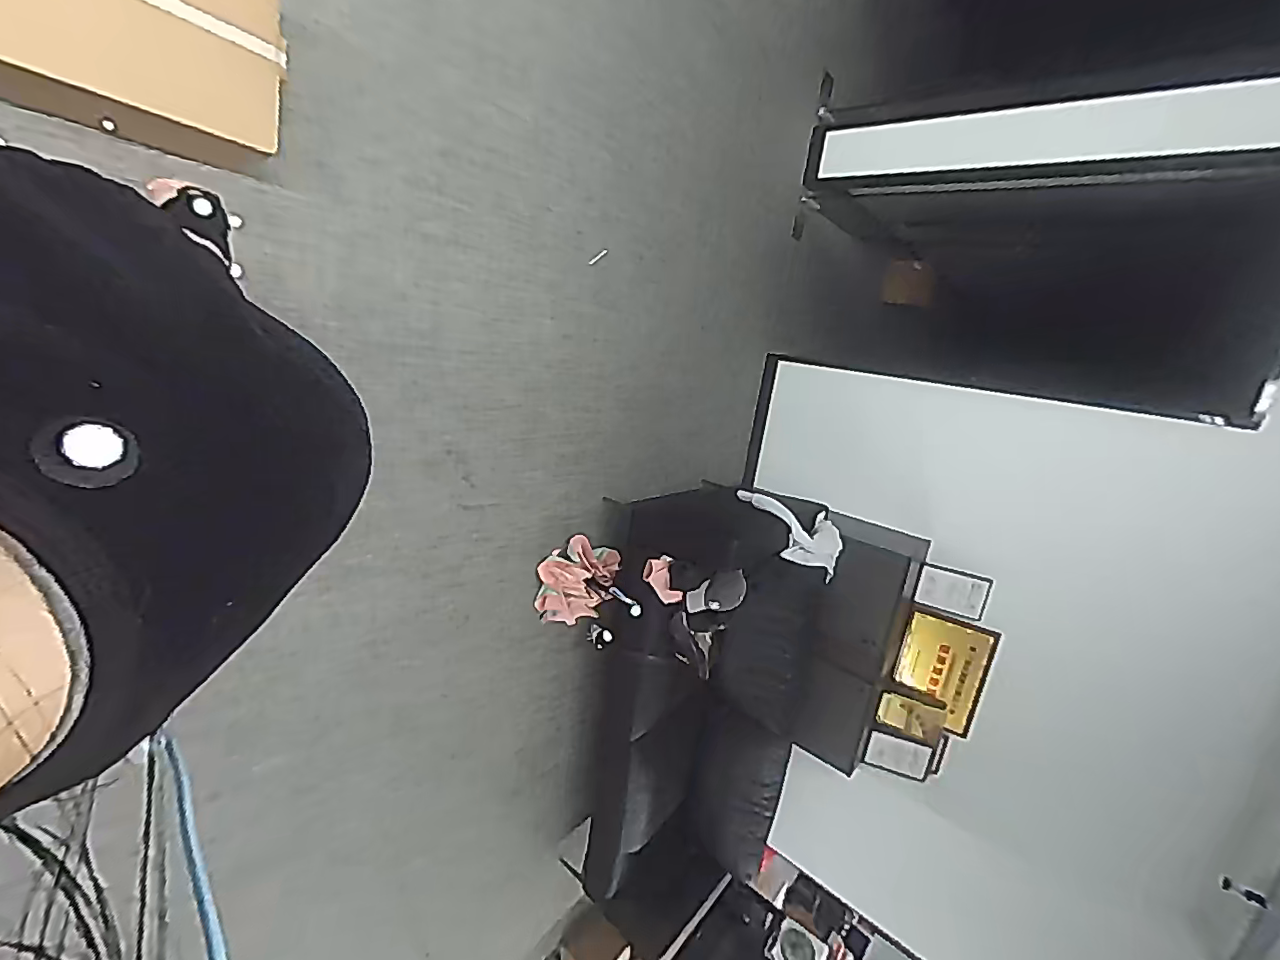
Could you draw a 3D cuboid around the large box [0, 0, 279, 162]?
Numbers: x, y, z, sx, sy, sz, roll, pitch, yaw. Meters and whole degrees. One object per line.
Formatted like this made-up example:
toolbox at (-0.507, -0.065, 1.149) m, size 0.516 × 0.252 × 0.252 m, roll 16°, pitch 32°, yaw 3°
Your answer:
large box at (-0.870, -0.764, 0.886) m, size 0.408 × 0.320 × 0.320 m, roll -6°, pitch 110°, yaw -49°
